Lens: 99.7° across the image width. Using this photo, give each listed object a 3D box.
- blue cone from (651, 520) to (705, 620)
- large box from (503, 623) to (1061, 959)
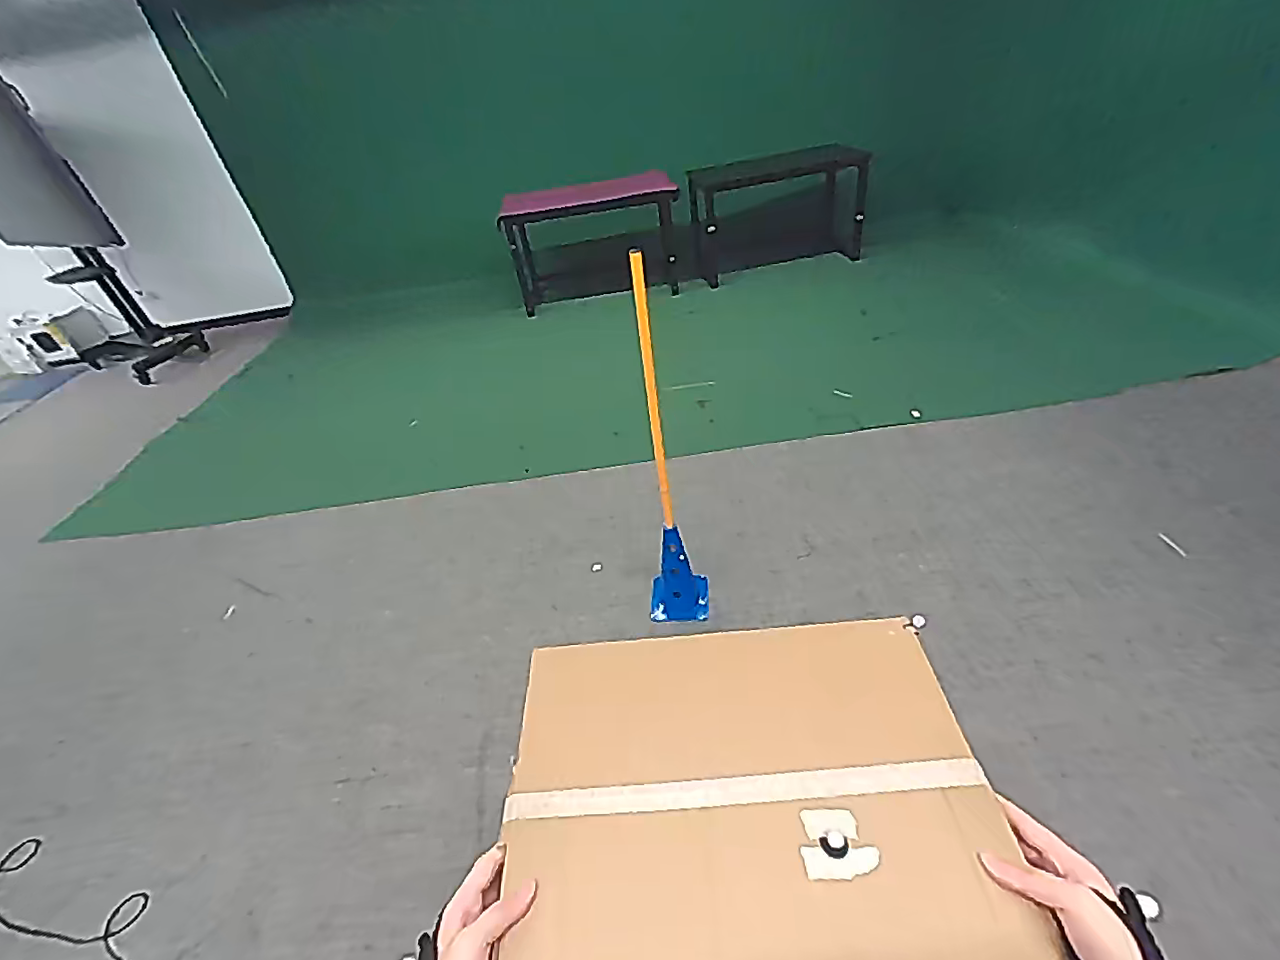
[{"bbox_3d":[0.115,0.293,1.828,0.193,0.380,0.192,-2,38,9],"label":"blue cone"},{"bbox_3d":[0.102,0.384,0.571,0.408,0.320,0.320,-5,42,2],"label":"large box"}]
